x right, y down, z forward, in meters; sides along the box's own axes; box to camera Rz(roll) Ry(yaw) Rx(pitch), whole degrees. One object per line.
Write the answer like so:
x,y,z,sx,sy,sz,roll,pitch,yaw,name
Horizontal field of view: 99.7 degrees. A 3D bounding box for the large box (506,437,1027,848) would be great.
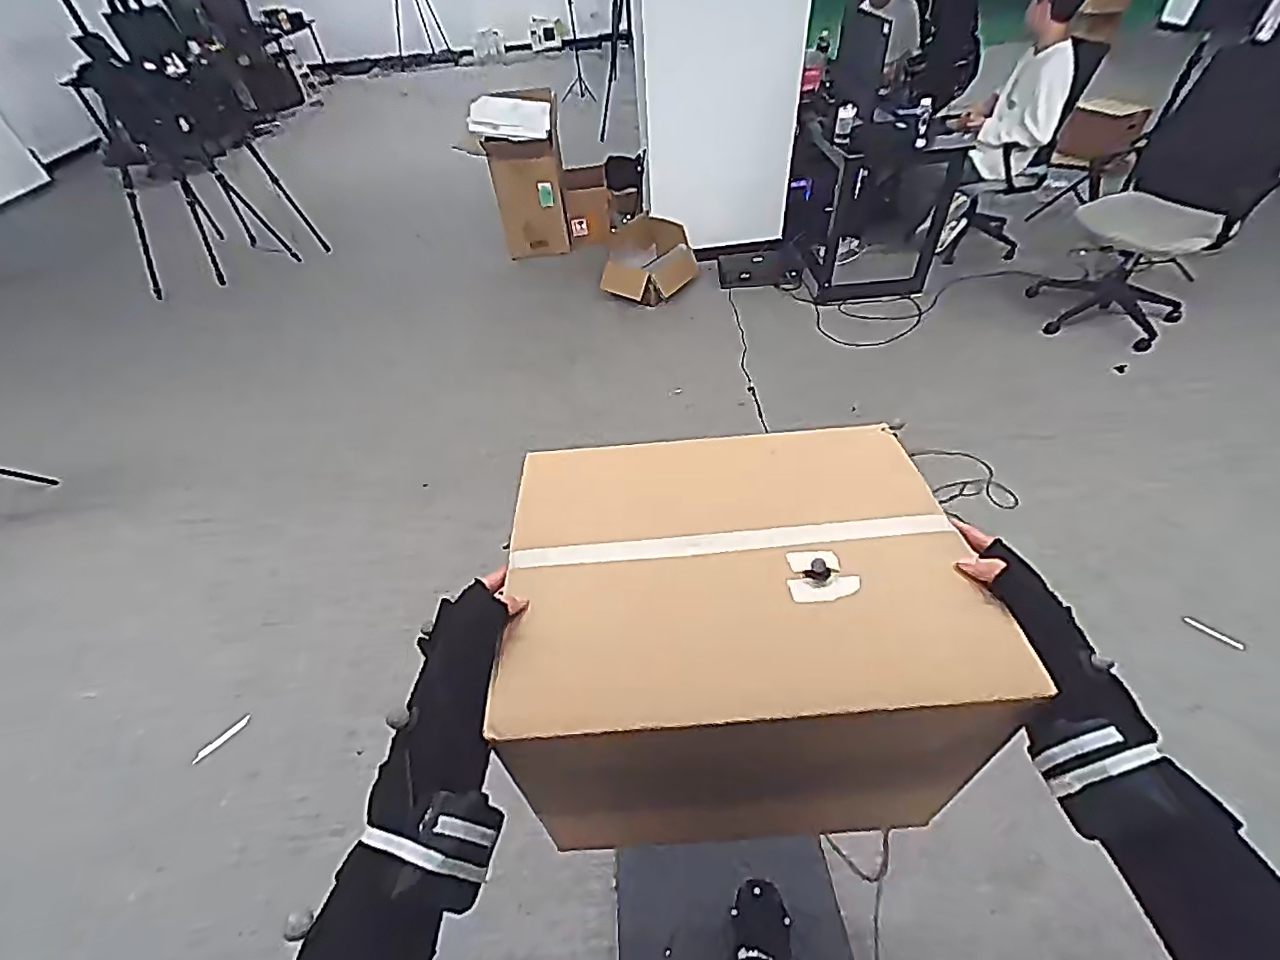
0.094,0.180,0.611,0.408,0.320,0.320,-5,43,0,large box
